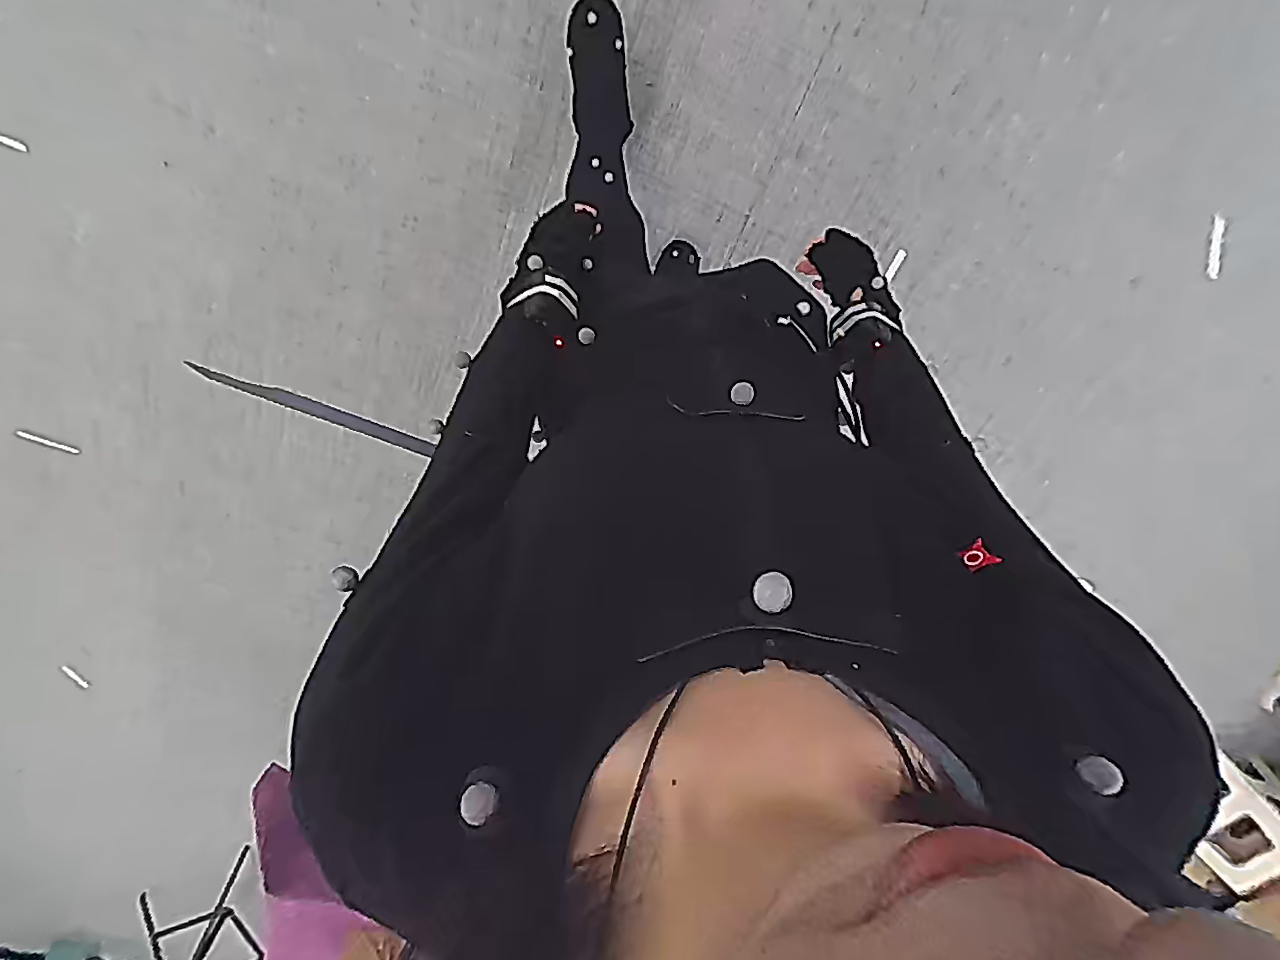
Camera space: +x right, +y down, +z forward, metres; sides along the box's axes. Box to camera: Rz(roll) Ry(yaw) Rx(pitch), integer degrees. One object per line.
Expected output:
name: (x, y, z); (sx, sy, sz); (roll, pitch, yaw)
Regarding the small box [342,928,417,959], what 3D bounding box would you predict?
small box: (-0.732, 1.359, 1.469); (0.179, 0.176, 0.168); (15, 119, -8)
